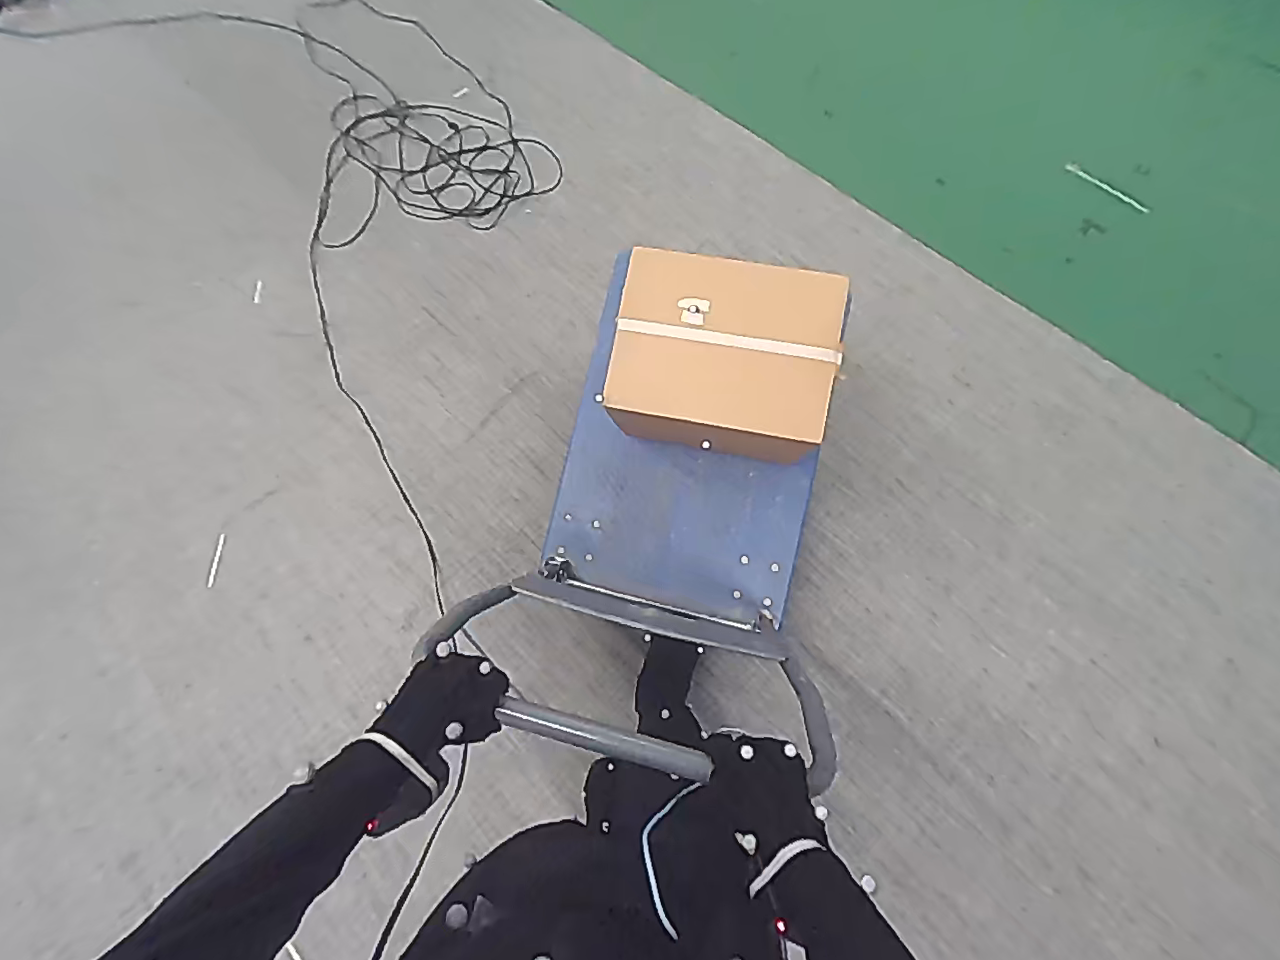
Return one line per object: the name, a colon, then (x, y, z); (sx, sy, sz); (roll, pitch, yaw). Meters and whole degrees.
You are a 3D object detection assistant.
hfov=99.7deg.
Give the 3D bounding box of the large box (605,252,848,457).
large box: (0.173, -0.238, 1.127); (0.408, 0.320, 0.320); (10, 86, 8)
